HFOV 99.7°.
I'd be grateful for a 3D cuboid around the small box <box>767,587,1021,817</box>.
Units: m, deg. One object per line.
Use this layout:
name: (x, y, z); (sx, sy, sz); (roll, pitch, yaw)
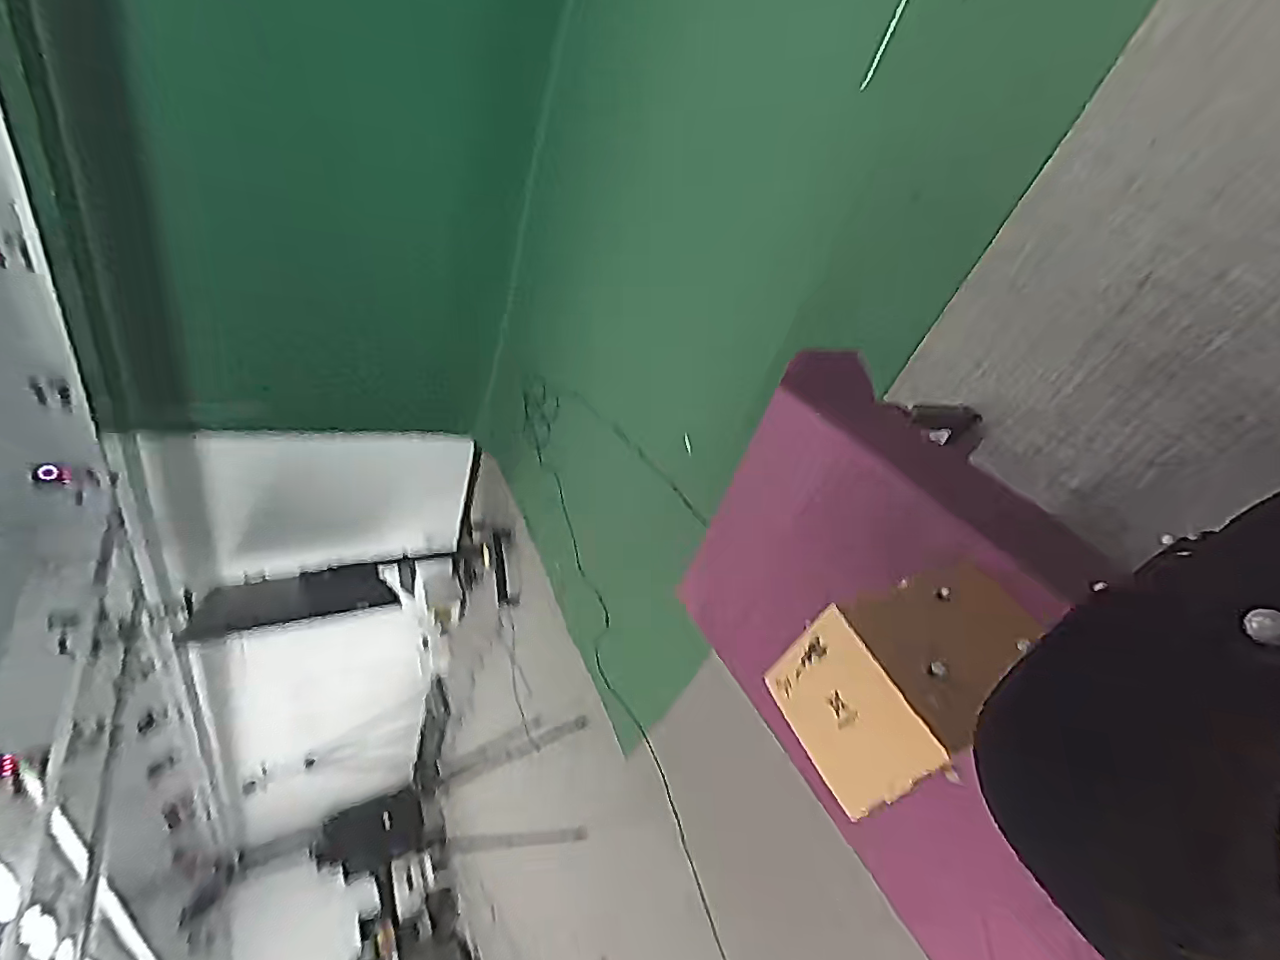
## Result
small box: (0.294, 0.250, 0.640); (0.179, 0.176, 0.168); (57, 137, 36)
